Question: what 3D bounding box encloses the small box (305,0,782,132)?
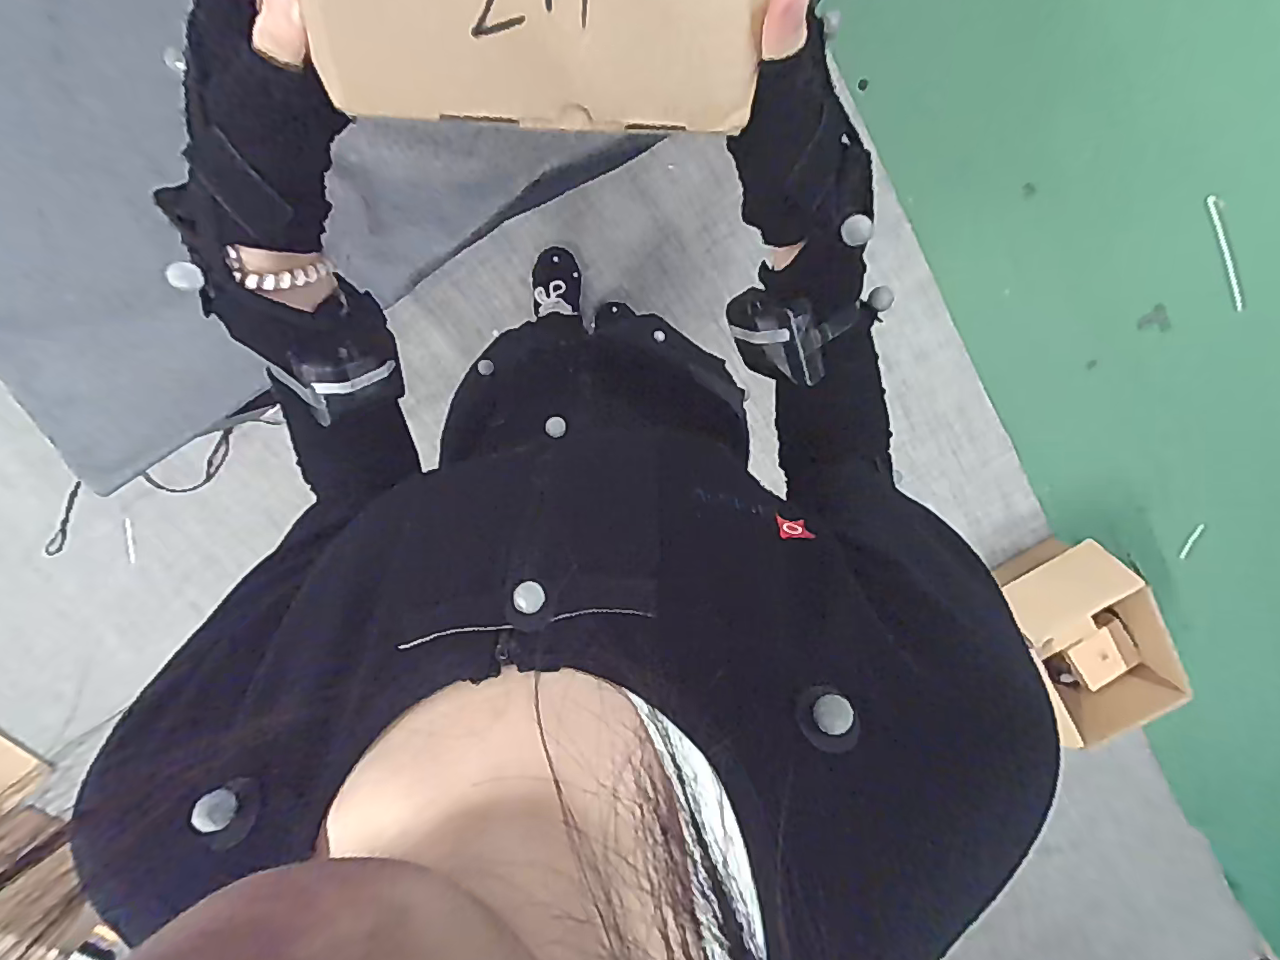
[{"bbox_3d":[-0.048,-0.254,0.204,0.168,0.176,0.179,-14,136,-25],"label":"small box"}]
